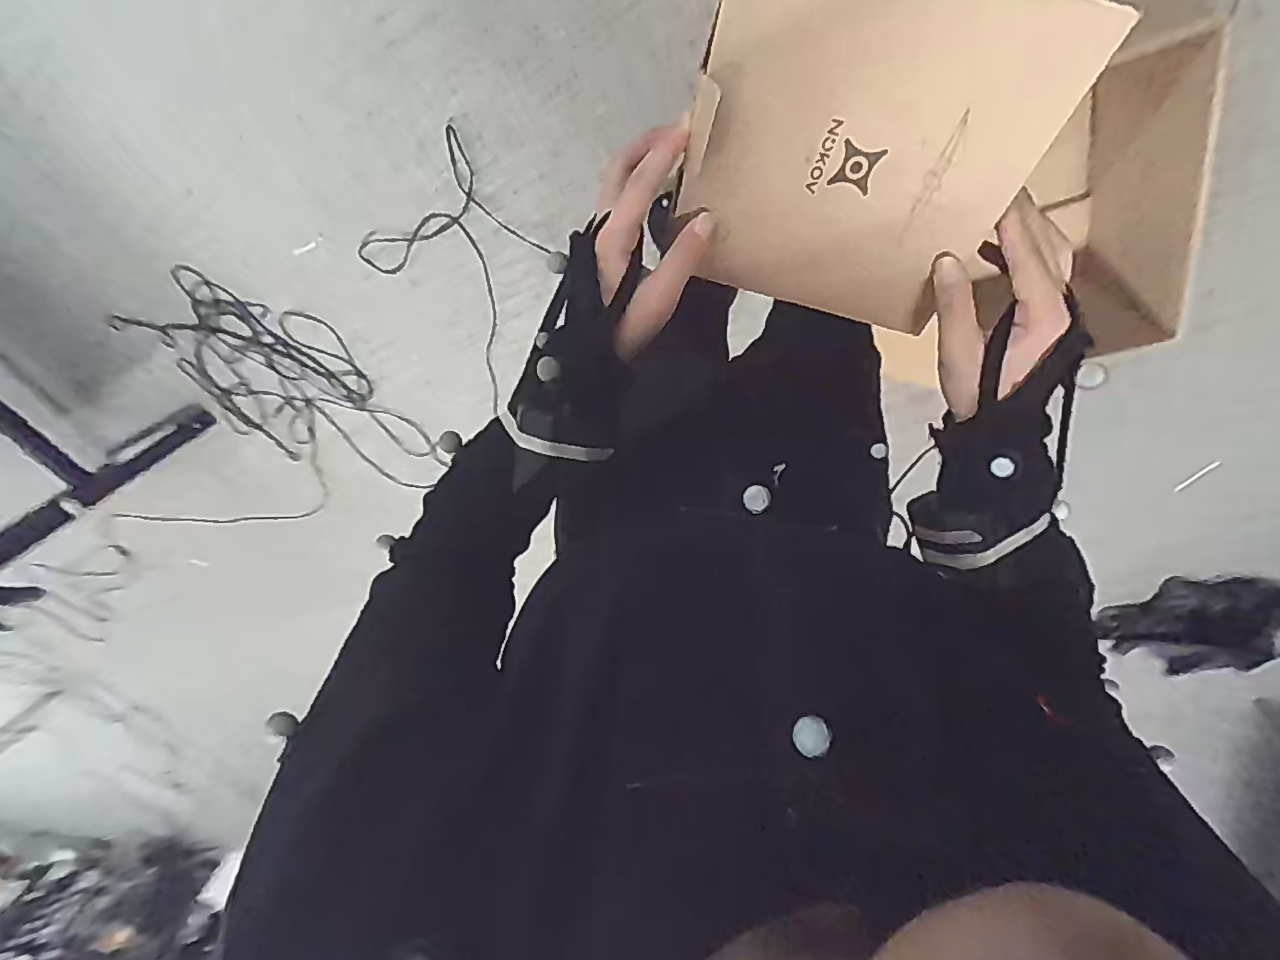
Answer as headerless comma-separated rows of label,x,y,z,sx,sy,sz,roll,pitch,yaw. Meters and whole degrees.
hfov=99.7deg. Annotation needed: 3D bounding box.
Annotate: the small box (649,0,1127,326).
small box,0.116,-0.226,0.328,0.179,0.176,0.168,13,140,0
